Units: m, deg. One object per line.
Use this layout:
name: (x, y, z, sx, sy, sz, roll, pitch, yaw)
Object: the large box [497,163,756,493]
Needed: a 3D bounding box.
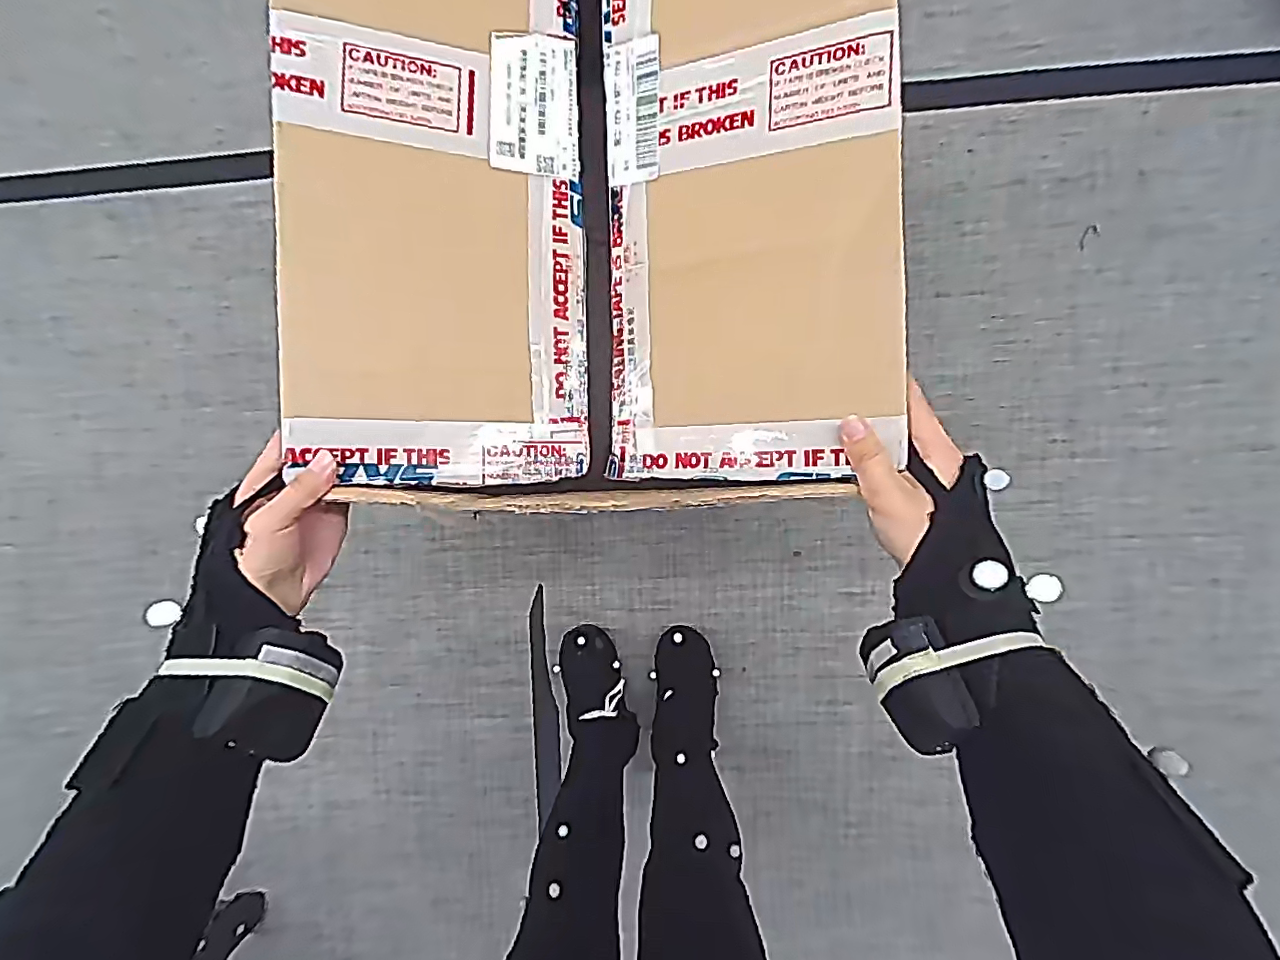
large box: (-0.010, -0.201, 0.843, 0.320, 0.320, 0.408, -4, 94, 4)
